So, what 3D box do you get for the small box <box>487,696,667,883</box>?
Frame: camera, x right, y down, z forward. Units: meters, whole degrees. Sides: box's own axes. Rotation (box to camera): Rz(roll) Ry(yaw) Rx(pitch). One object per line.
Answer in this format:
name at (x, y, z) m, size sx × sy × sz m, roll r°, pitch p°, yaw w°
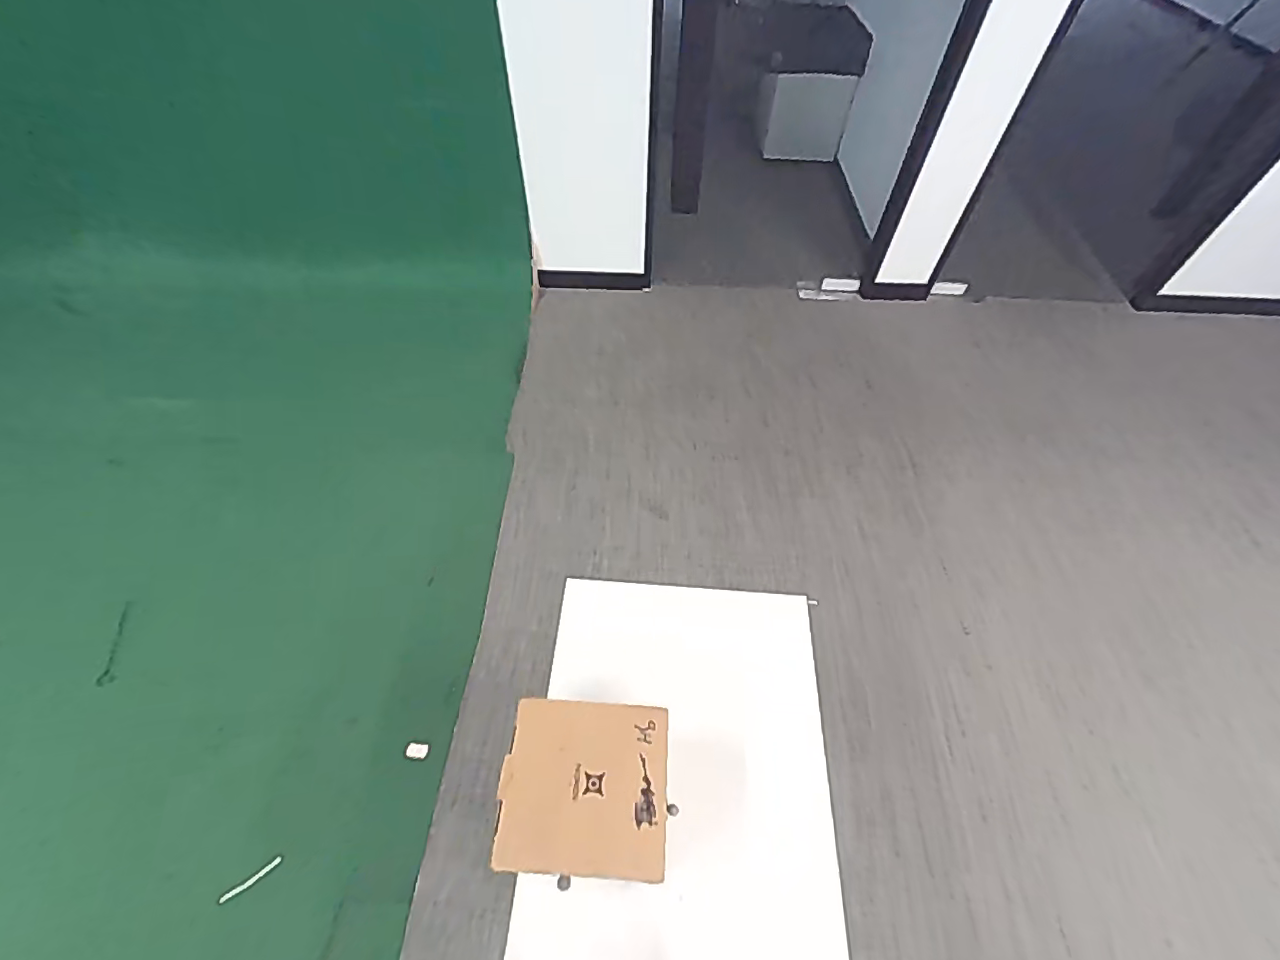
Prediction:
small box at (-0.064, 0.370, 0.643) m, size 0.179 × 0.176 × 0.168 m, roll 5°, pitch 53°, yaw 0°
